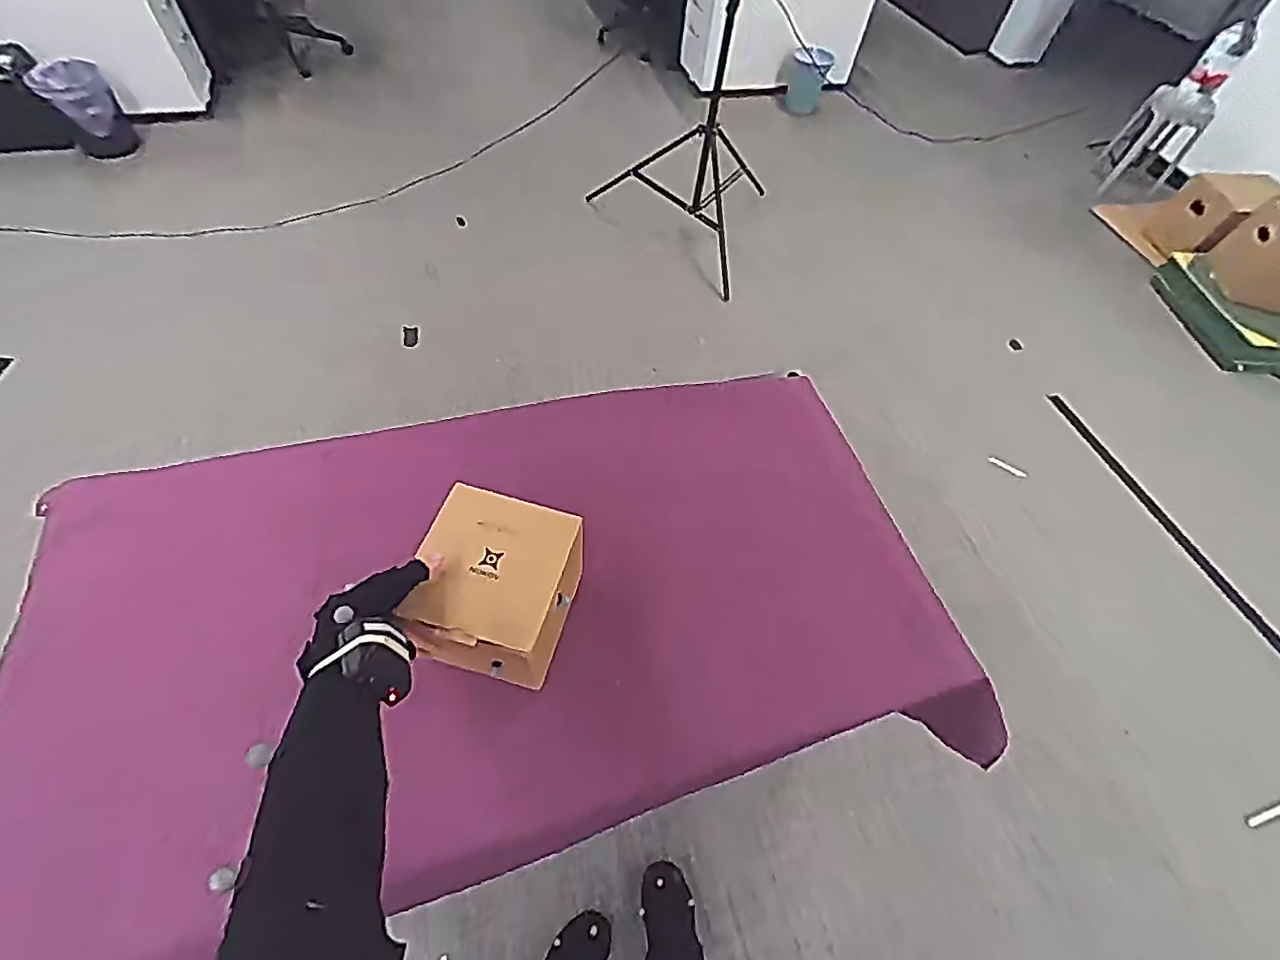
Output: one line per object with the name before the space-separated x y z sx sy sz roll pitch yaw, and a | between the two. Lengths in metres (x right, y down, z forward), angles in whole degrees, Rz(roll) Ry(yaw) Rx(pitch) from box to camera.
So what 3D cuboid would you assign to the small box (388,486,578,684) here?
small box | -0.178 0.139 0.686 0.168 0.176 0.179 15 56 4
